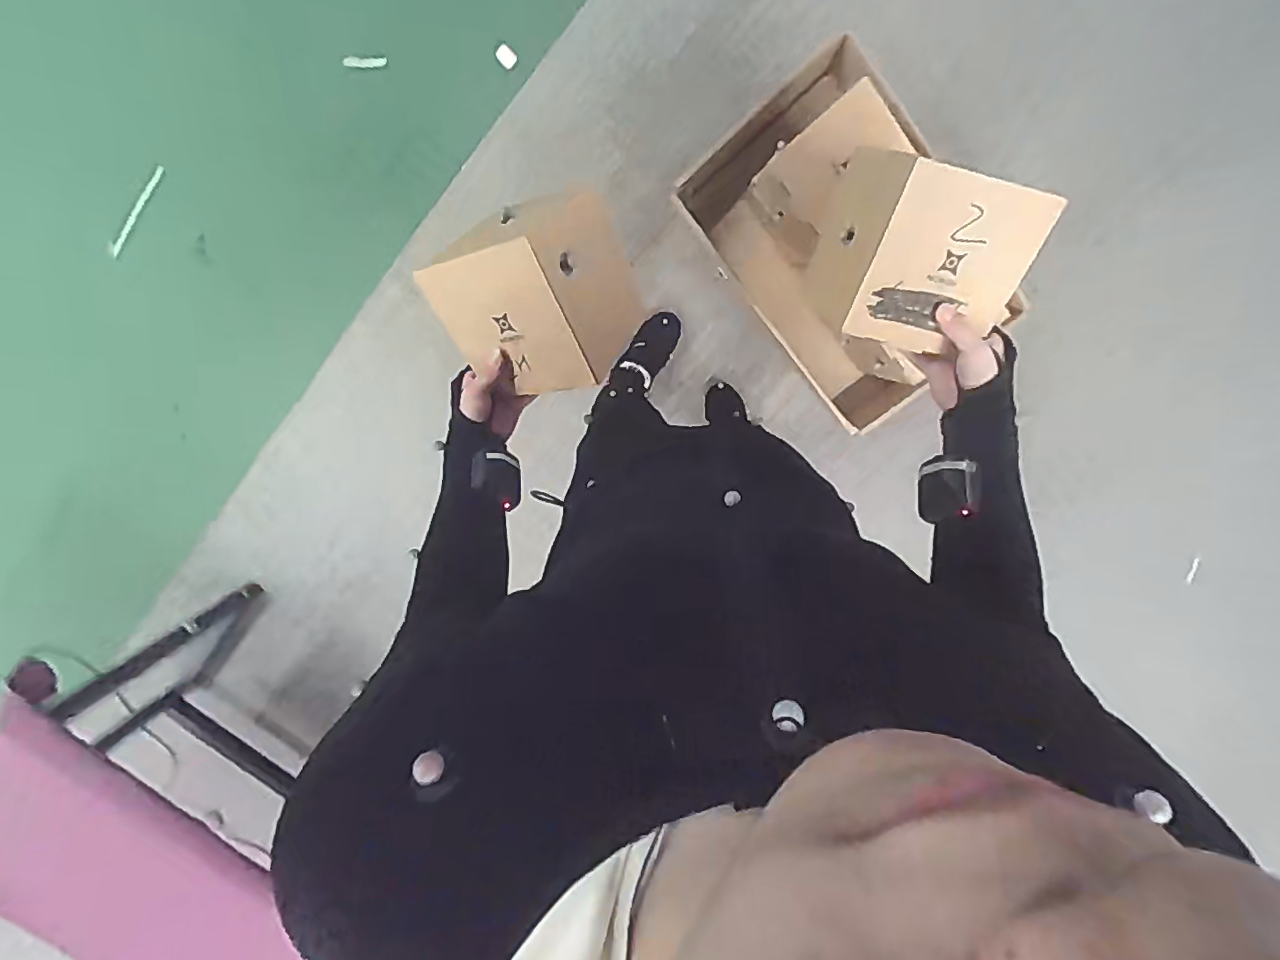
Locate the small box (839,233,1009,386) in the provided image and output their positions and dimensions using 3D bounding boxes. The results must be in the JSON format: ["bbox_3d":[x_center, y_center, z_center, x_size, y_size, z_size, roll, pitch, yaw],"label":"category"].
[{"bbox_3d":[0.463,-0.283,0.919,0.179,0.176,0.168,-37,101,13],"label":"small box"}]

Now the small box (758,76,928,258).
[{"bbox_3d":[0.313,-0.486,0.874,0.179,0.176,0.168,-37,101,14],"label":"small box"}]

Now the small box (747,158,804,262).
[{"bbox_3d":[0.322,-0.541,1.029,0.168,0.176,0.179,-36,101,13],"label":"small box"}]

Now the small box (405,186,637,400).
[{"bbox_3d":[-0.125,-0.220,0.637,0.168,0.176,0.179,-2,134,29],"label":"small box"}]
